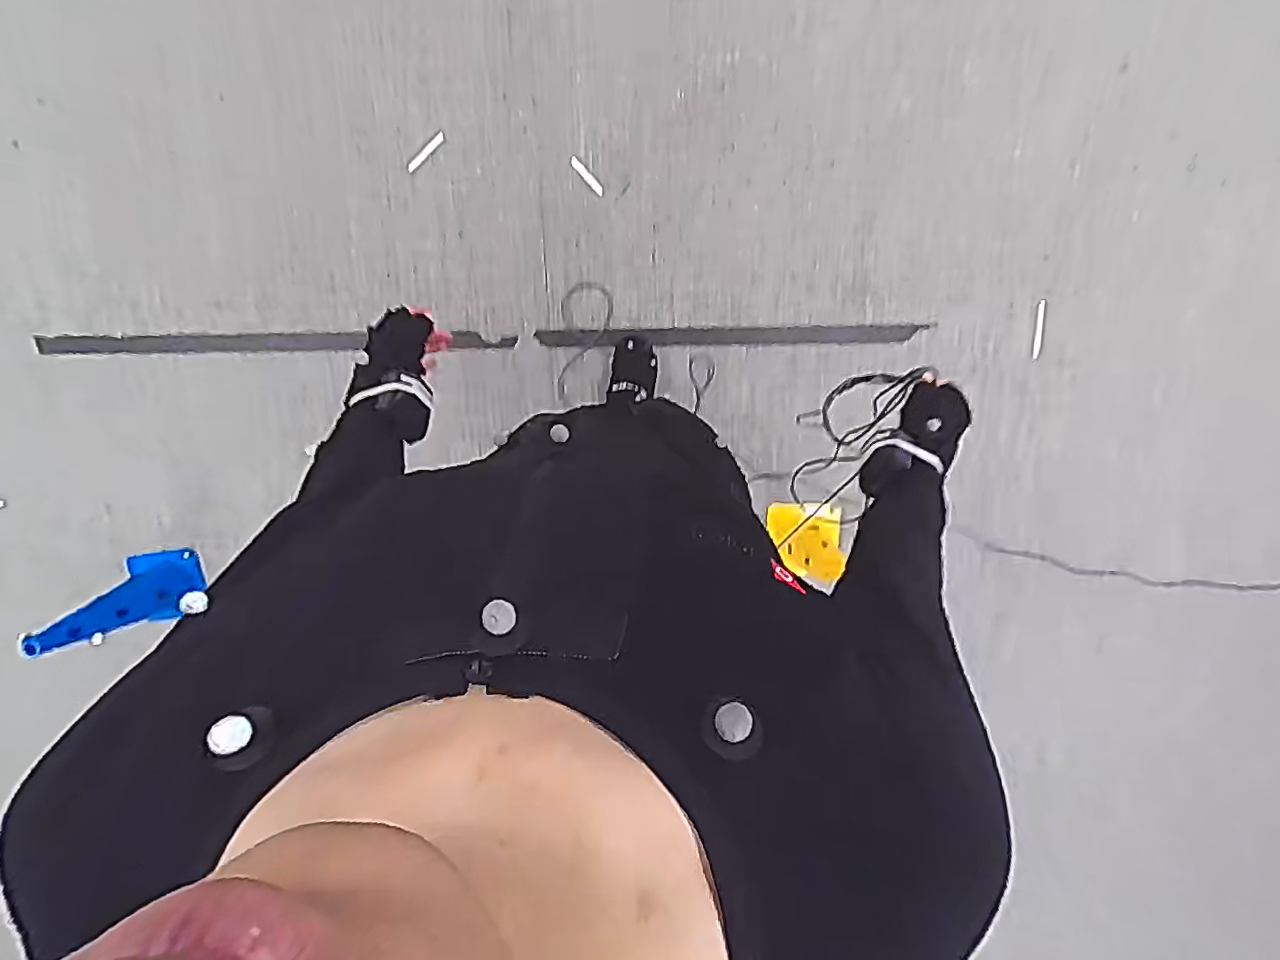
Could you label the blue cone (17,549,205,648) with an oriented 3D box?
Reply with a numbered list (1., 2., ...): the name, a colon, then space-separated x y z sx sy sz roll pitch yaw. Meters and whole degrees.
1. blue cone: -1.312 0.320 1.337 0.193 0.380 0.192 -6 100 1
